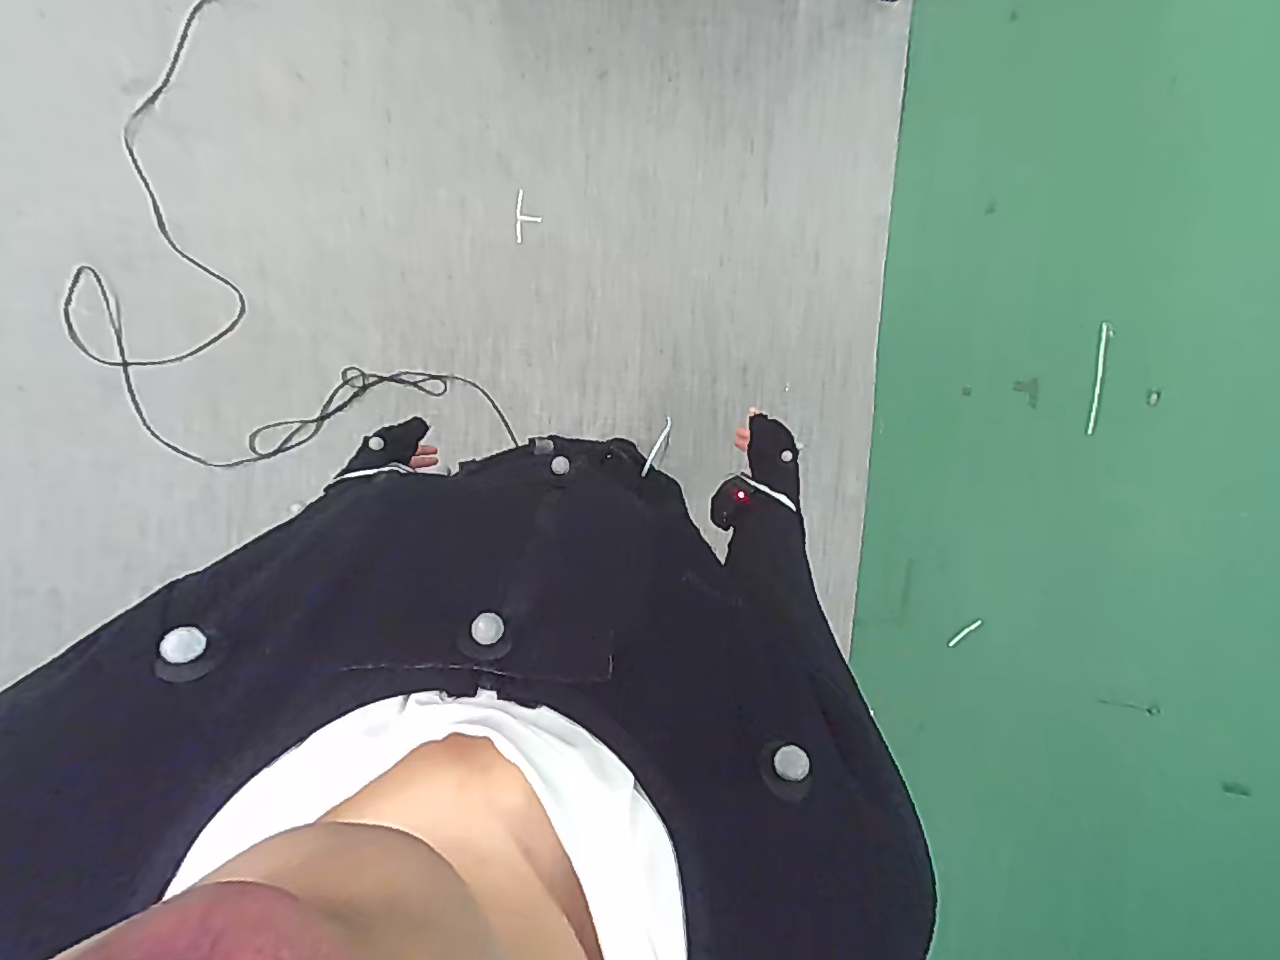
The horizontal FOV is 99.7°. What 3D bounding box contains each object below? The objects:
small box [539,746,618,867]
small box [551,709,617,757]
[{"bbox_3d":[-0.137,0.748,1.248,0.168,0.176,0.179,2,96,-3],"label":"small box"},{"bbox_3d":[-0.146,0.728,1.410,0.168,0.176,0.179,3,96,-4],"label":"small box"}]
